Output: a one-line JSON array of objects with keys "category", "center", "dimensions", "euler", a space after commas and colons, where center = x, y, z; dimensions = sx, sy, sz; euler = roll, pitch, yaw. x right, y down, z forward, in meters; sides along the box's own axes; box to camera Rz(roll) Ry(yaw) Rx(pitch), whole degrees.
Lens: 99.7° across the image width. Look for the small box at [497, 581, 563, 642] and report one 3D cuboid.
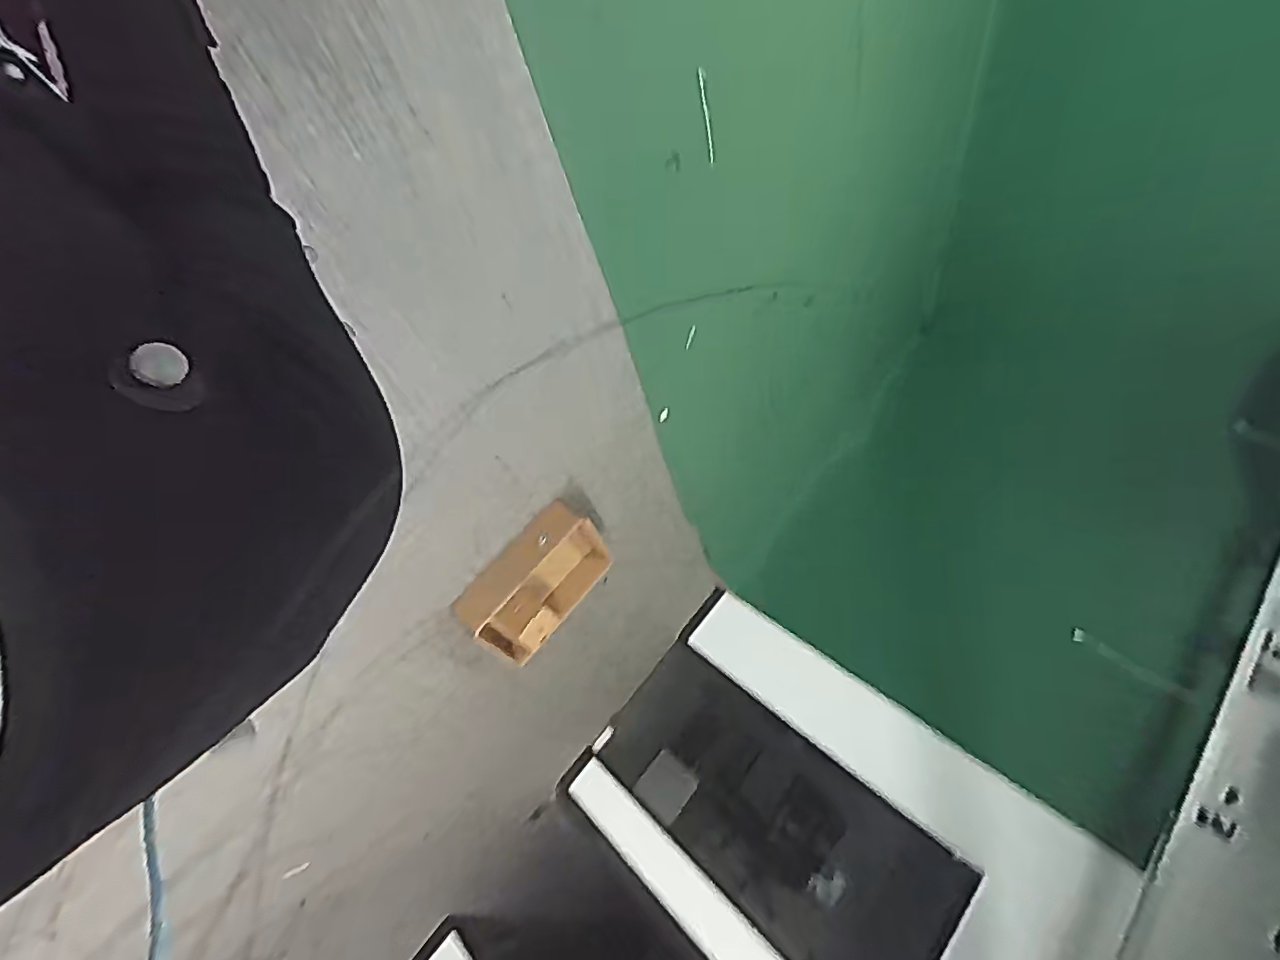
[{"category": "small box", "center": [-0.466, 0.549, 2.276], "dimensions": [0.168, 0.176, 0.179], "euler": [-52, 146, -14]}]
